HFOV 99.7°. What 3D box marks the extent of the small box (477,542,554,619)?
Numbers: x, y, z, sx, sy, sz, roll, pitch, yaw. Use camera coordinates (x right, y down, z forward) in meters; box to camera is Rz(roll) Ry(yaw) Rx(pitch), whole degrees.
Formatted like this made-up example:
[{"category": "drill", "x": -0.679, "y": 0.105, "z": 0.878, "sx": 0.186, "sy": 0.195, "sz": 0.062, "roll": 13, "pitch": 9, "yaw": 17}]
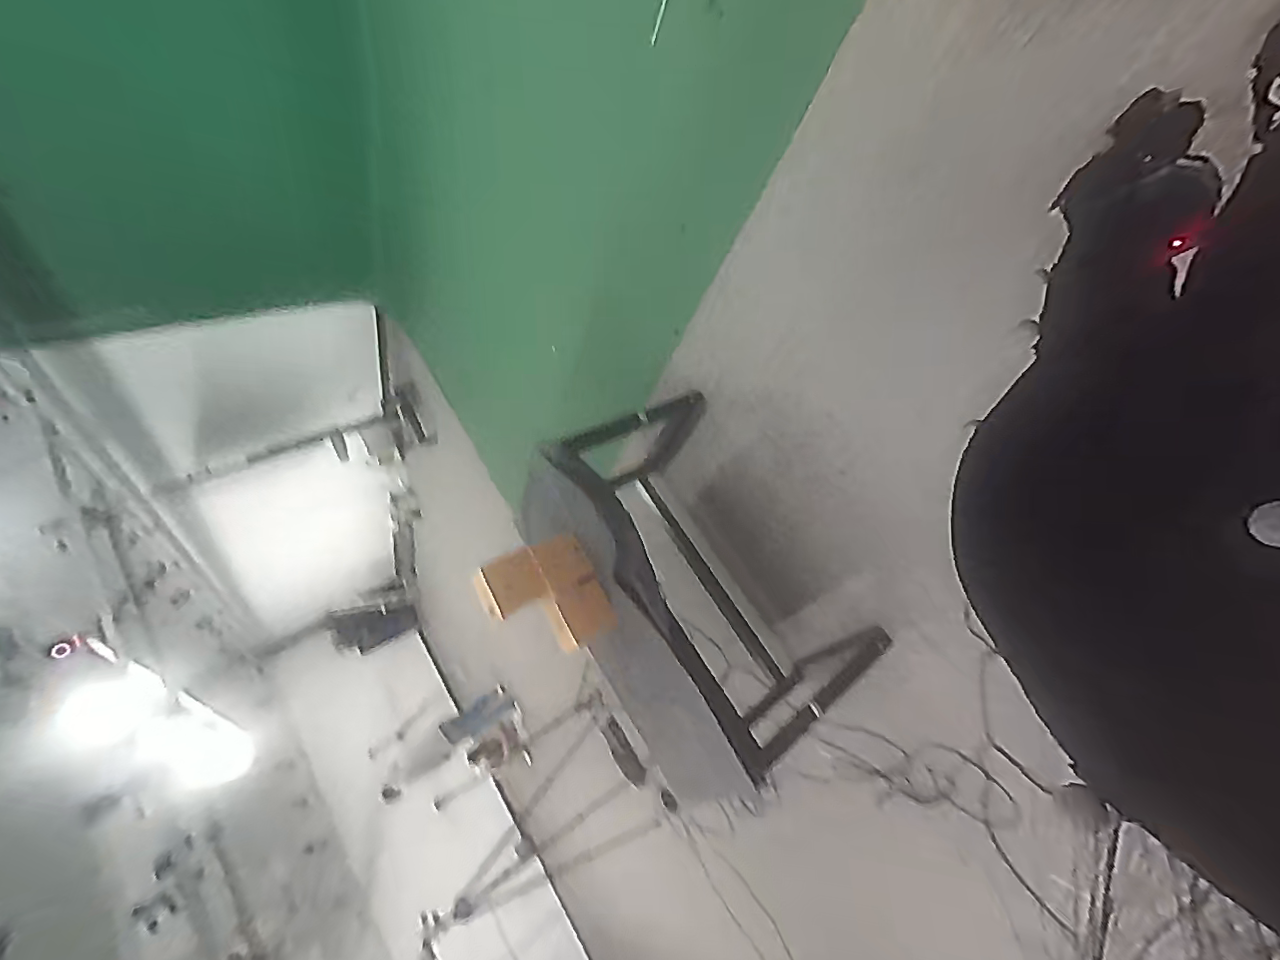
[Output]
[{"category": "small box", "x": -0.405, "y": 0.327, "z": 1.762, "sx": 0.179, "sy": 0.176, "sz": 0.168, "roll": 62, "pitch": 146, "yaw": 8}]
